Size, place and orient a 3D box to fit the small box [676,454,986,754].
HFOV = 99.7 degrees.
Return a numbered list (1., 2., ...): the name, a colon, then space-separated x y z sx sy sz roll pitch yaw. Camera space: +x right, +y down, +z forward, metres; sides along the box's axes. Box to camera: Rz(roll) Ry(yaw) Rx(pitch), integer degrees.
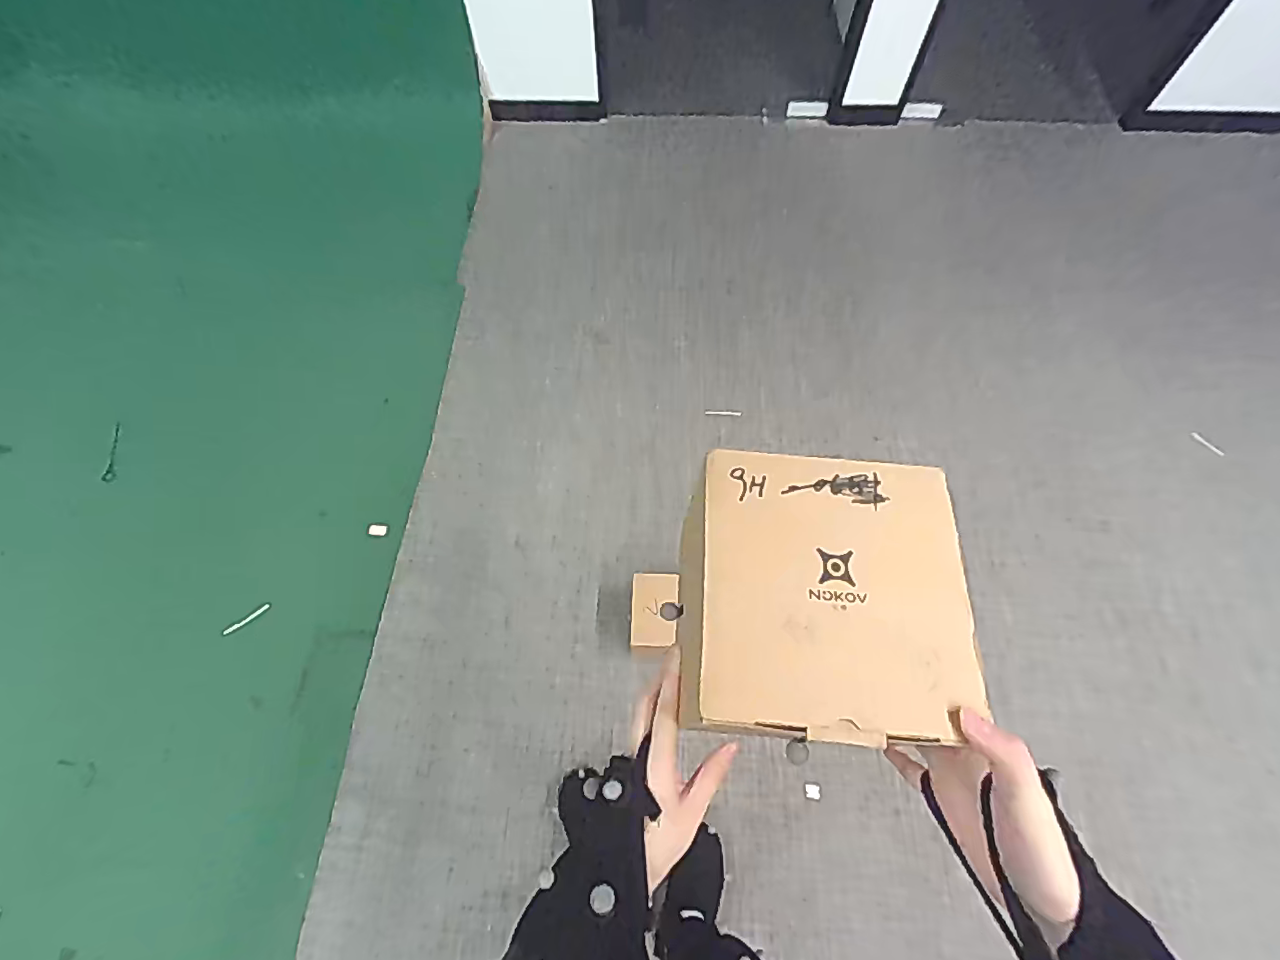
1. small box: 0.119 0.099 0.410 0.168 0.176 0.179 5 66 0
